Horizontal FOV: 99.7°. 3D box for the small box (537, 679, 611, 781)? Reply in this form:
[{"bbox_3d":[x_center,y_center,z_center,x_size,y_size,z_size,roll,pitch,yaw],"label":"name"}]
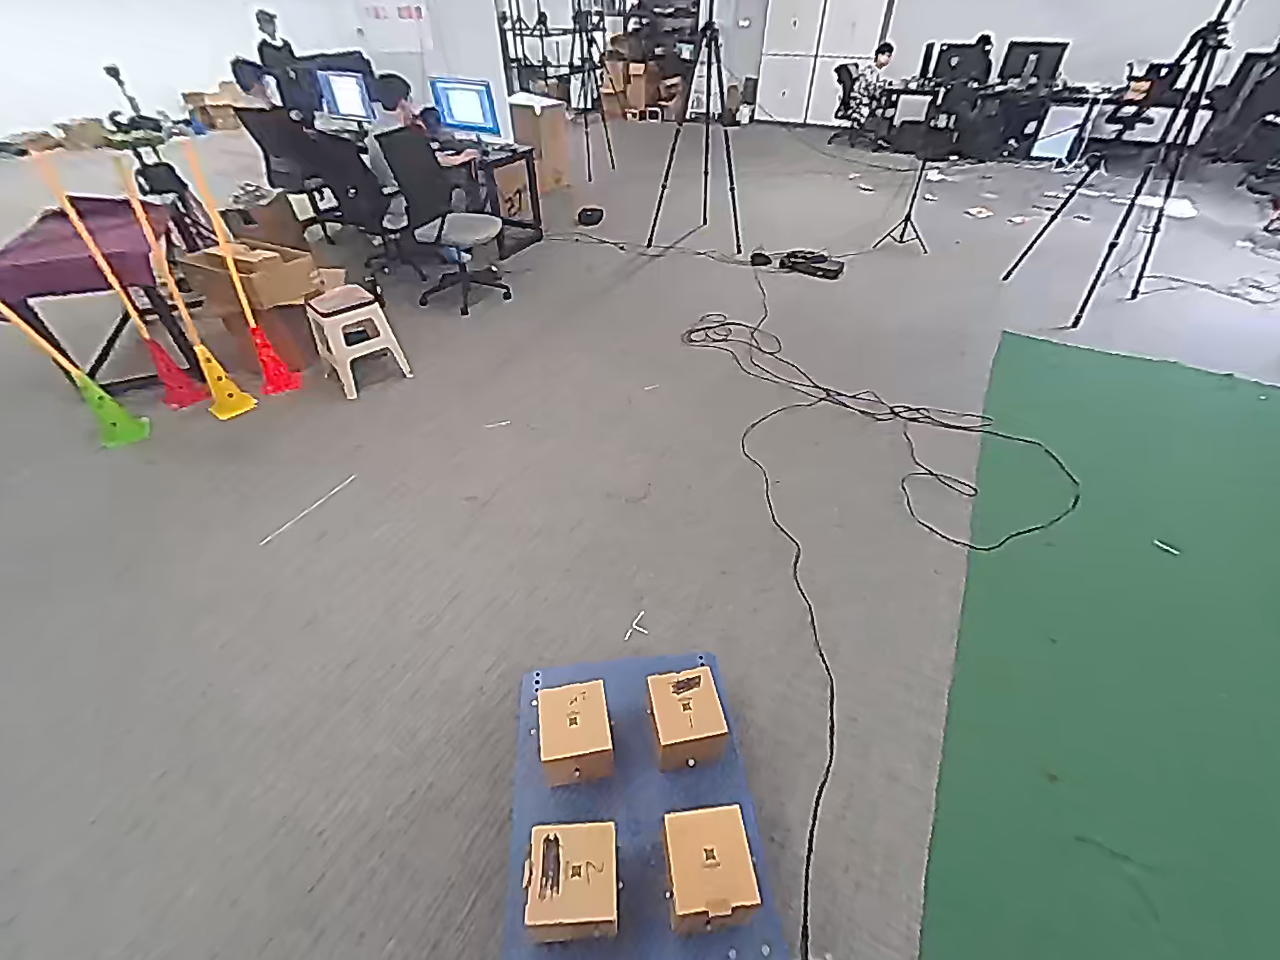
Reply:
[{"bbox_3d":[-0.163,0.627,1.346,0.168,0.176,0.179,-6,43,-8],"label":"small box"}]

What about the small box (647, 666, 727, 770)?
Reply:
[{"bbox_3d":[0.111,0.605,1.375,0.168,0.176,0.179,-7,44,-8],"label":"small box"}]

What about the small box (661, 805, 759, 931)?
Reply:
[{"bbox_3d":[0.138,0.819,1.141,0.168,0.176,0.179,-4,43,-5],"label":"small box"}]
